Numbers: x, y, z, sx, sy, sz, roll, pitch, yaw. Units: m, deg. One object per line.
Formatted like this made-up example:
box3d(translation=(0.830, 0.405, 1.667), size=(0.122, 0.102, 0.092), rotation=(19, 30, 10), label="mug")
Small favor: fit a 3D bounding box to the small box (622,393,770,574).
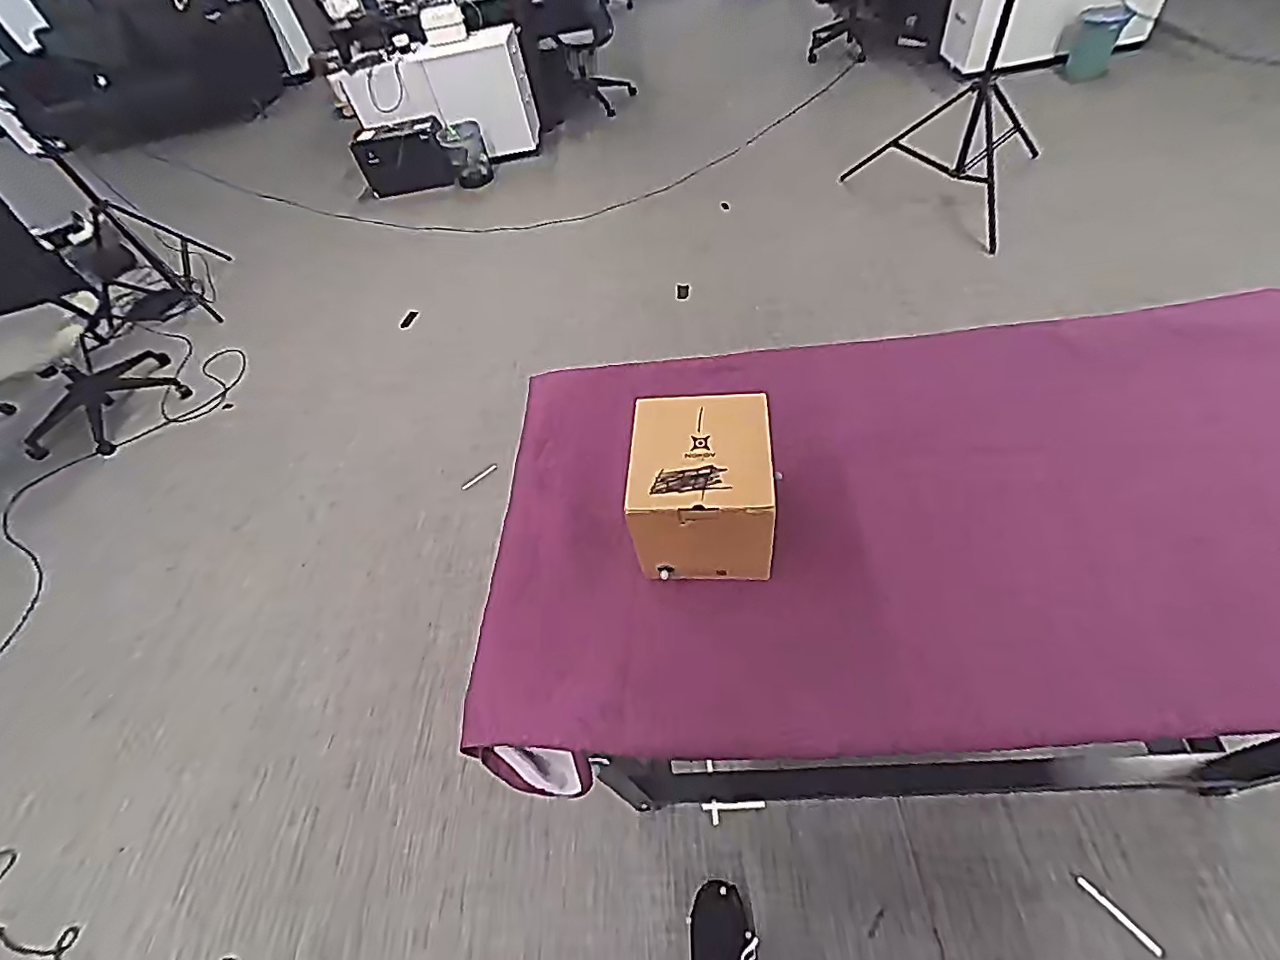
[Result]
box3d(translation=(0.079, 0.011, 0.700), size=(0.168, 0.176, 0.179), rotation=(-1, 52, 9), label="small box")
